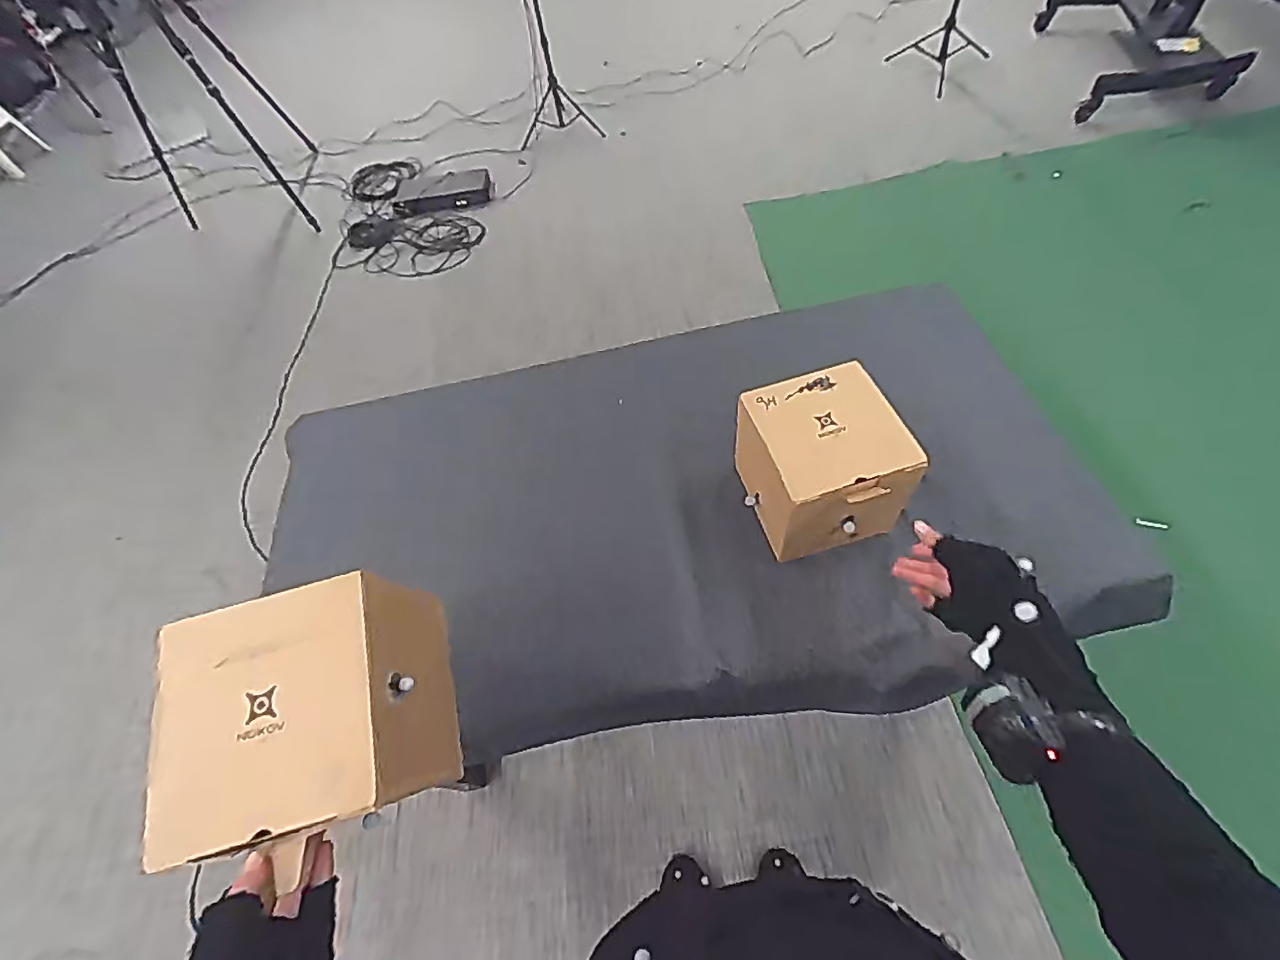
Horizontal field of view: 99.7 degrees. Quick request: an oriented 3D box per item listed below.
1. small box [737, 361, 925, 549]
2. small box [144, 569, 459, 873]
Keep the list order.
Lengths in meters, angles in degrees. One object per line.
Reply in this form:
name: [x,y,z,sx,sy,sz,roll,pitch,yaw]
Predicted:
small box: [0.237,-0.023,0.722,0.168,0.176,0.179,-15,58,-3]
small box: [-0.273,0.198,0.473,0.168,0.176,0.179,-16,67,-3]
